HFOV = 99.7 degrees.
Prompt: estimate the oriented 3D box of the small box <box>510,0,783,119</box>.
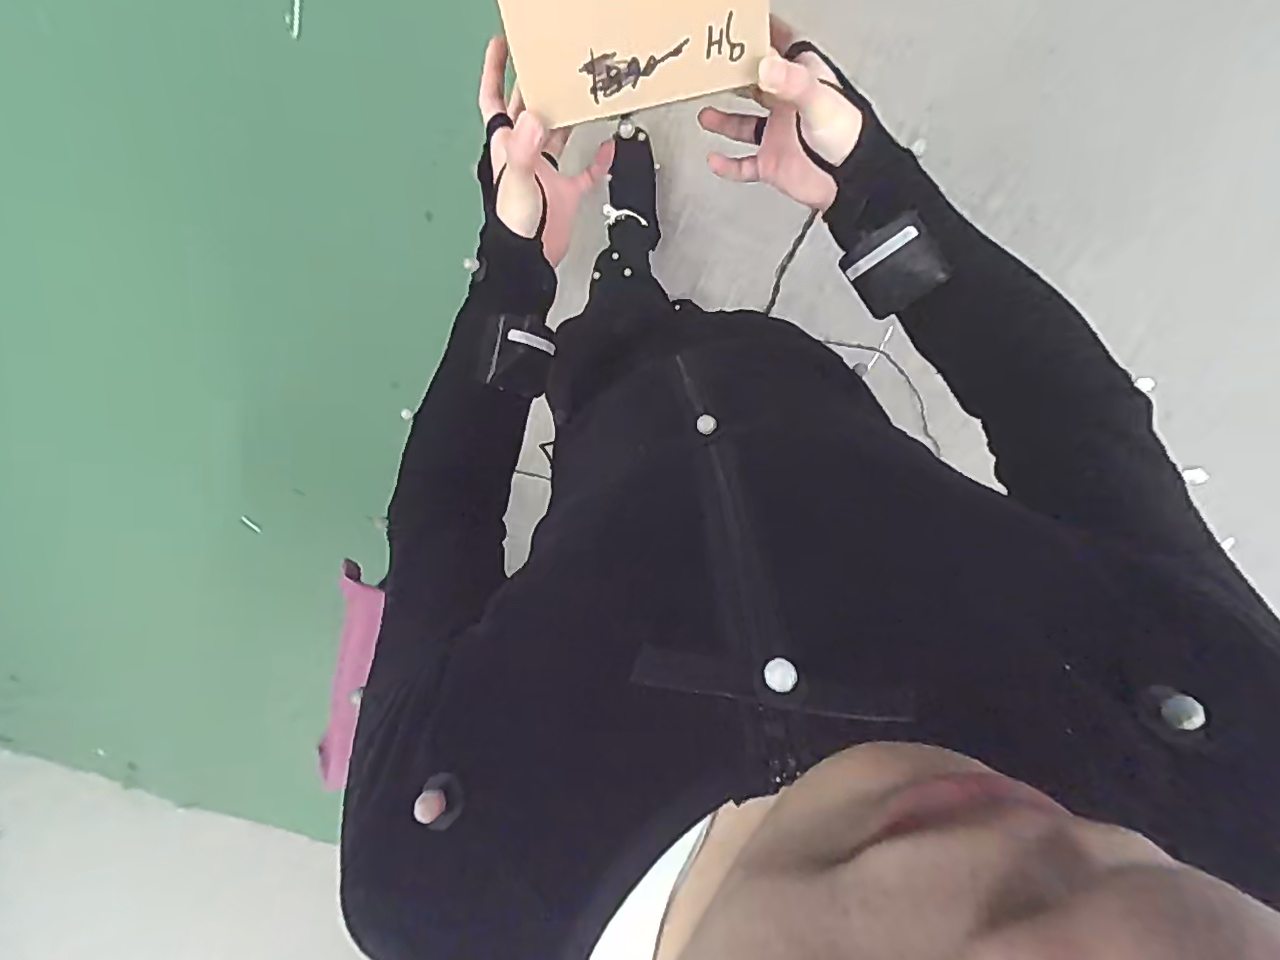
[{"bbox_3d":[-0.001,-0.364,0.371,0.168,0.176,0.179,-7,123,7],"label":"small box"}]
